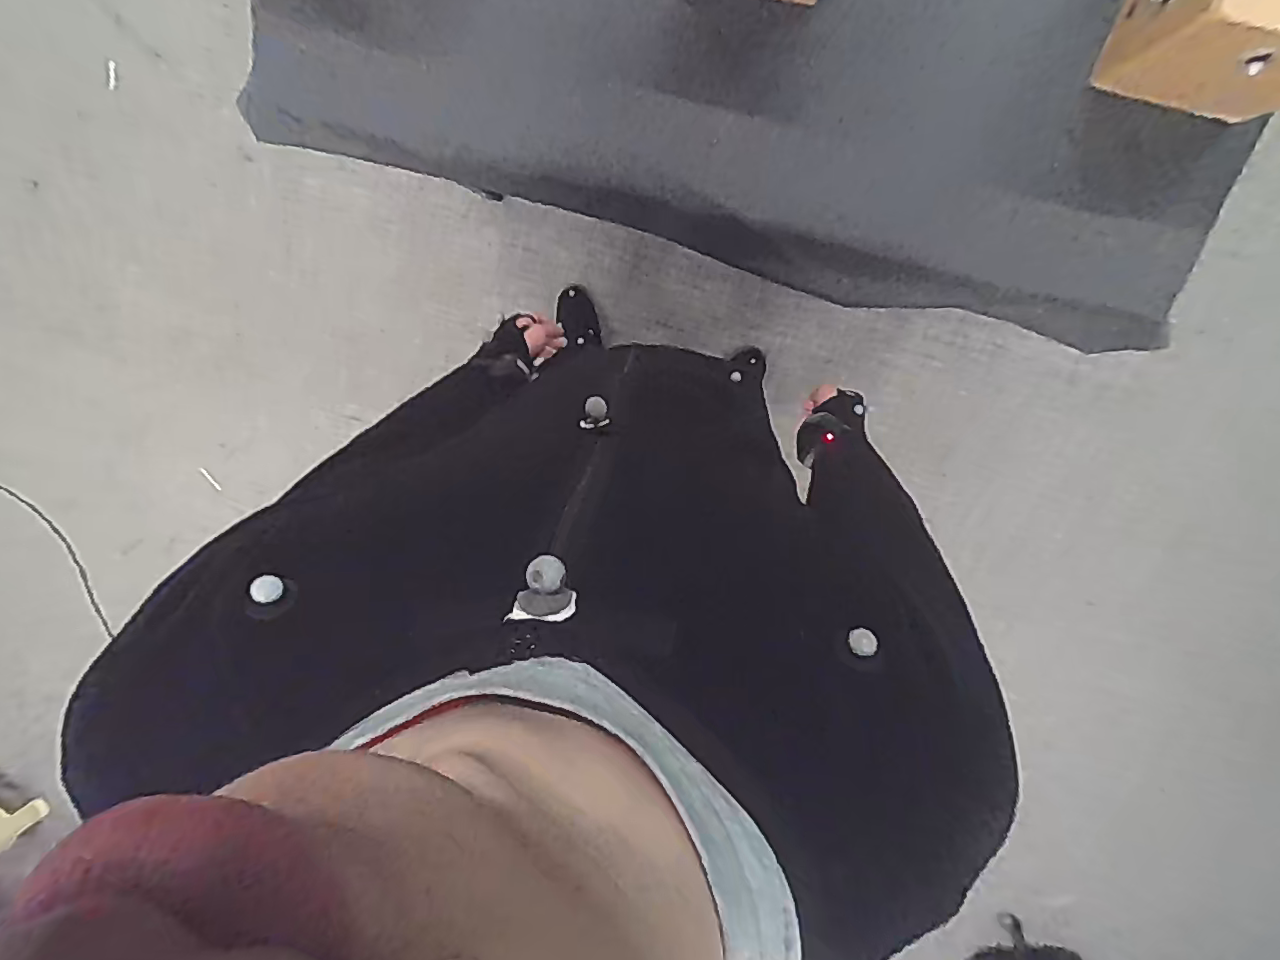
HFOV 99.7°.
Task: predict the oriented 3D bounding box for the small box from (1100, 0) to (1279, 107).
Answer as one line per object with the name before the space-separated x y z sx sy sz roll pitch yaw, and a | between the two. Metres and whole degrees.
small box | 0.602 -0.484 0.508 0.179 0.176 0.168 16 110 0
